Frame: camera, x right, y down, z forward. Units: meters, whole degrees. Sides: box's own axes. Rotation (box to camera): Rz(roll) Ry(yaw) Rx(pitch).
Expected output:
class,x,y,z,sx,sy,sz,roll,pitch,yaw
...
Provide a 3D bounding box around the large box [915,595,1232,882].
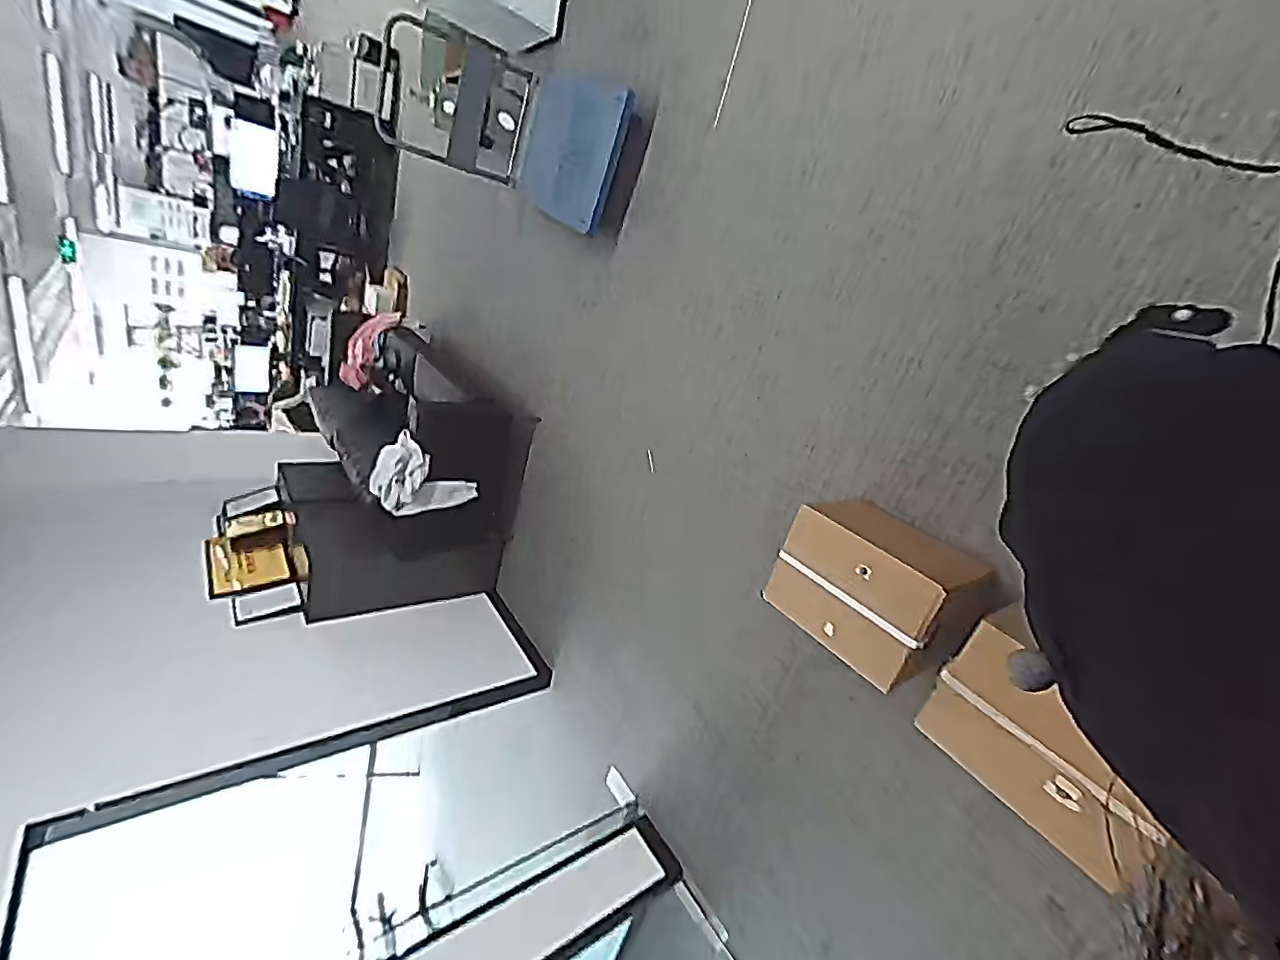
class,x,y,z,sx,sy,sz,roll,pitch,yaw
large box,0.896,0.502,1.151,0.408,0.320,0.320,39,120,40
